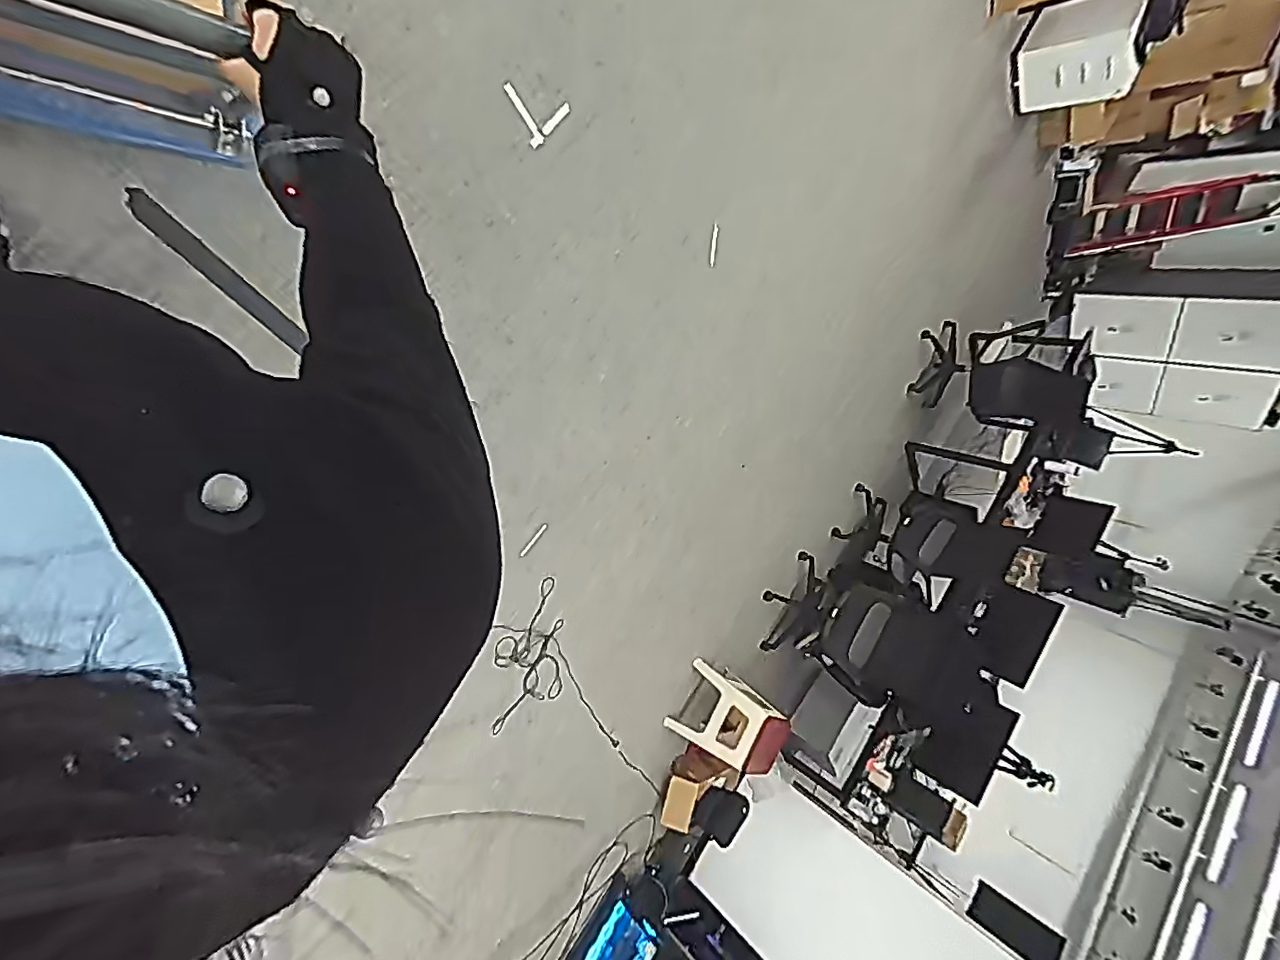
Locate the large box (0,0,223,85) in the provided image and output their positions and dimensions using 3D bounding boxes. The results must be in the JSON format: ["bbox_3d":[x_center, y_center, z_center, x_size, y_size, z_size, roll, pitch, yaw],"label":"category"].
[{"bbox_3d":[-0.788,-0.746,0.641,0.408,0.320,0.320,-10,113,-45],"label":"large box"}]
